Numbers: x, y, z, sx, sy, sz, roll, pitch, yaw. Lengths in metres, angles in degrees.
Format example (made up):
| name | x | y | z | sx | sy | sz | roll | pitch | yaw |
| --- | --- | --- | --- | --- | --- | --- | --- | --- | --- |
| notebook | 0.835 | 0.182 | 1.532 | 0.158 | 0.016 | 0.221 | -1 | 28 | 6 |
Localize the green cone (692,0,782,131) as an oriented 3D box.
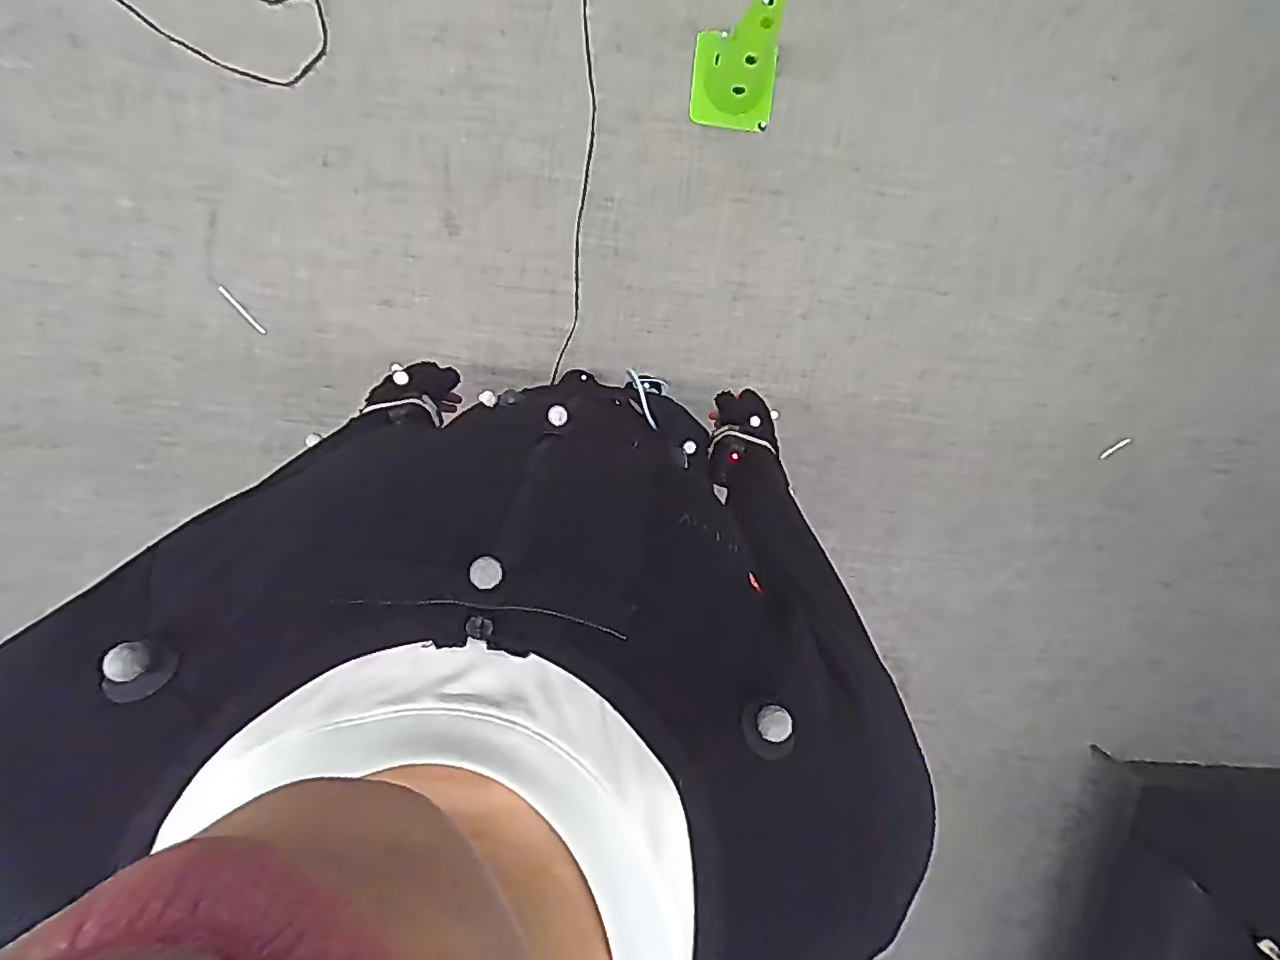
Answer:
| name | x | y | z | sx | sy | sz | roll | pitch | yaw |
| --- | --- | --- | --- | --- | --- | --- | --- | --- | --- |
| green cone | 0.241 | -0.932 | 1.142 | 0.202 | 0.368 | 0.200 | 5 | 100 | -4 |
